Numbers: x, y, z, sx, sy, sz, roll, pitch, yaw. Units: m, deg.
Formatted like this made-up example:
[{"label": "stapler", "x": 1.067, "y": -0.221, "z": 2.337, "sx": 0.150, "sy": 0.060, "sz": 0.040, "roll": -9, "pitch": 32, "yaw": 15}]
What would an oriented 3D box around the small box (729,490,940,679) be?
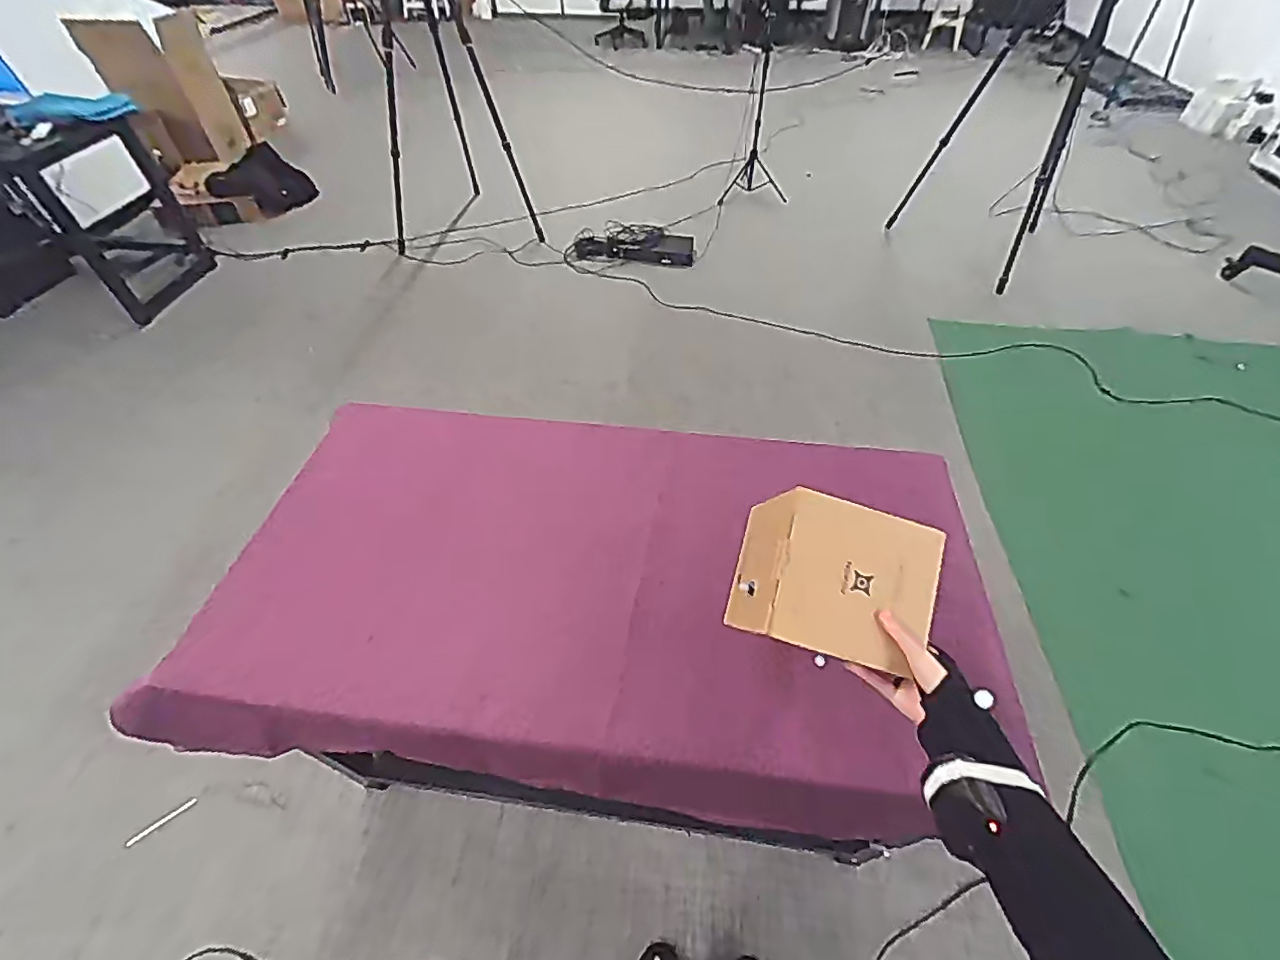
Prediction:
[{"label": "small box", "x": 0.223, "y": 0.128, "z": 0.661, "sx": 0.179, "sy": 0.176, "sz": 0.168, "roll": 17, "pitch": 77, "yaw": -2}]
